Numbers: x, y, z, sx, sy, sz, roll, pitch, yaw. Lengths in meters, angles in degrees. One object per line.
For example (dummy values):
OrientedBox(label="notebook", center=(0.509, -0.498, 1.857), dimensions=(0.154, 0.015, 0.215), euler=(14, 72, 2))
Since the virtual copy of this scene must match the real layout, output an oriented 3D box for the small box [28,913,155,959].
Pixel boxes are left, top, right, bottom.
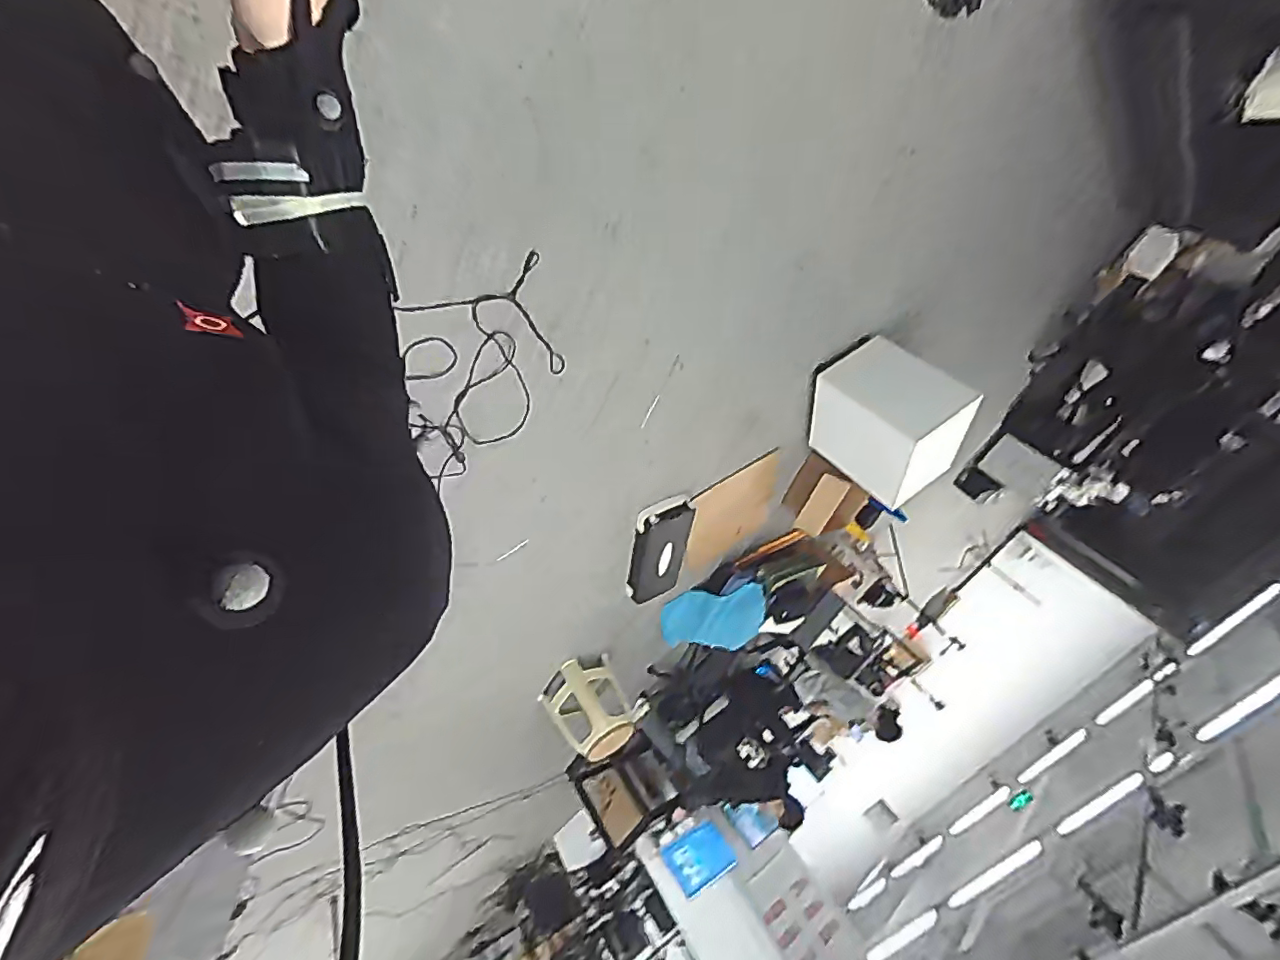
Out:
OrientedBox(label="small box", center=(-0.955, 0.902, 0.935), dimensions=(0.168, 0.176, 0.179), euler=(1, 129, -45))
